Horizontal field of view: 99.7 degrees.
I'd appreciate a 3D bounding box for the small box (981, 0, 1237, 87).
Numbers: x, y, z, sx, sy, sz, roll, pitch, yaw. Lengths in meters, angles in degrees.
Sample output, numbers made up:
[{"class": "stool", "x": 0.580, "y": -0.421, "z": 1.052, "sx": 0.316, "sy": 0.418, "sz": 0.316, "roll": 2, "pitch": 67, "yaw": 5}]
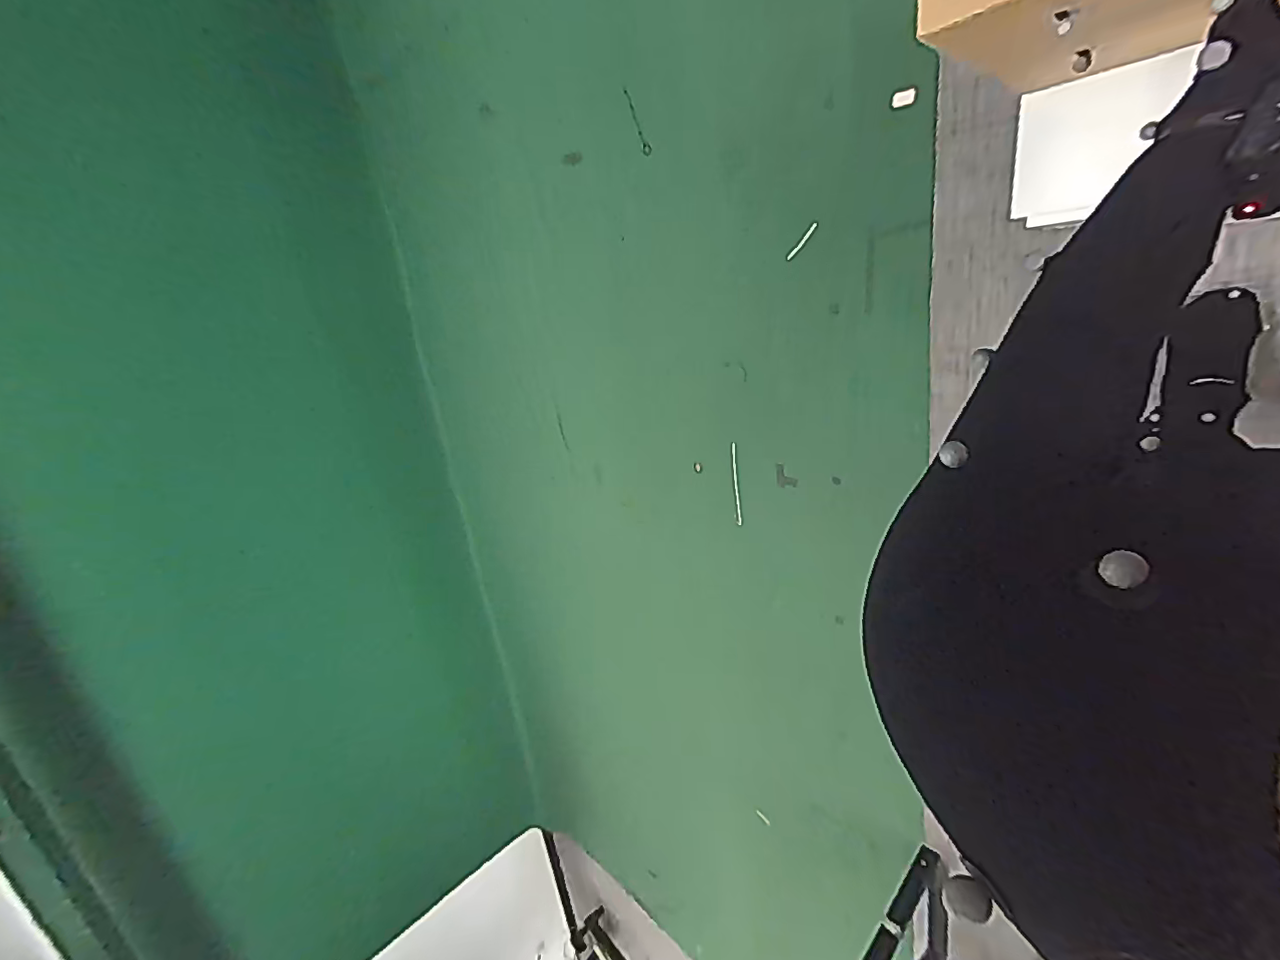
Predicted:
[{"class": "small box", "x": 0.452, "y": -0.505, "z": 0.512, "sx": 0.179, "sy": 0.176, "sz": 0.168, "roll": 10, "pitch": 116, "yaw": 44}]
